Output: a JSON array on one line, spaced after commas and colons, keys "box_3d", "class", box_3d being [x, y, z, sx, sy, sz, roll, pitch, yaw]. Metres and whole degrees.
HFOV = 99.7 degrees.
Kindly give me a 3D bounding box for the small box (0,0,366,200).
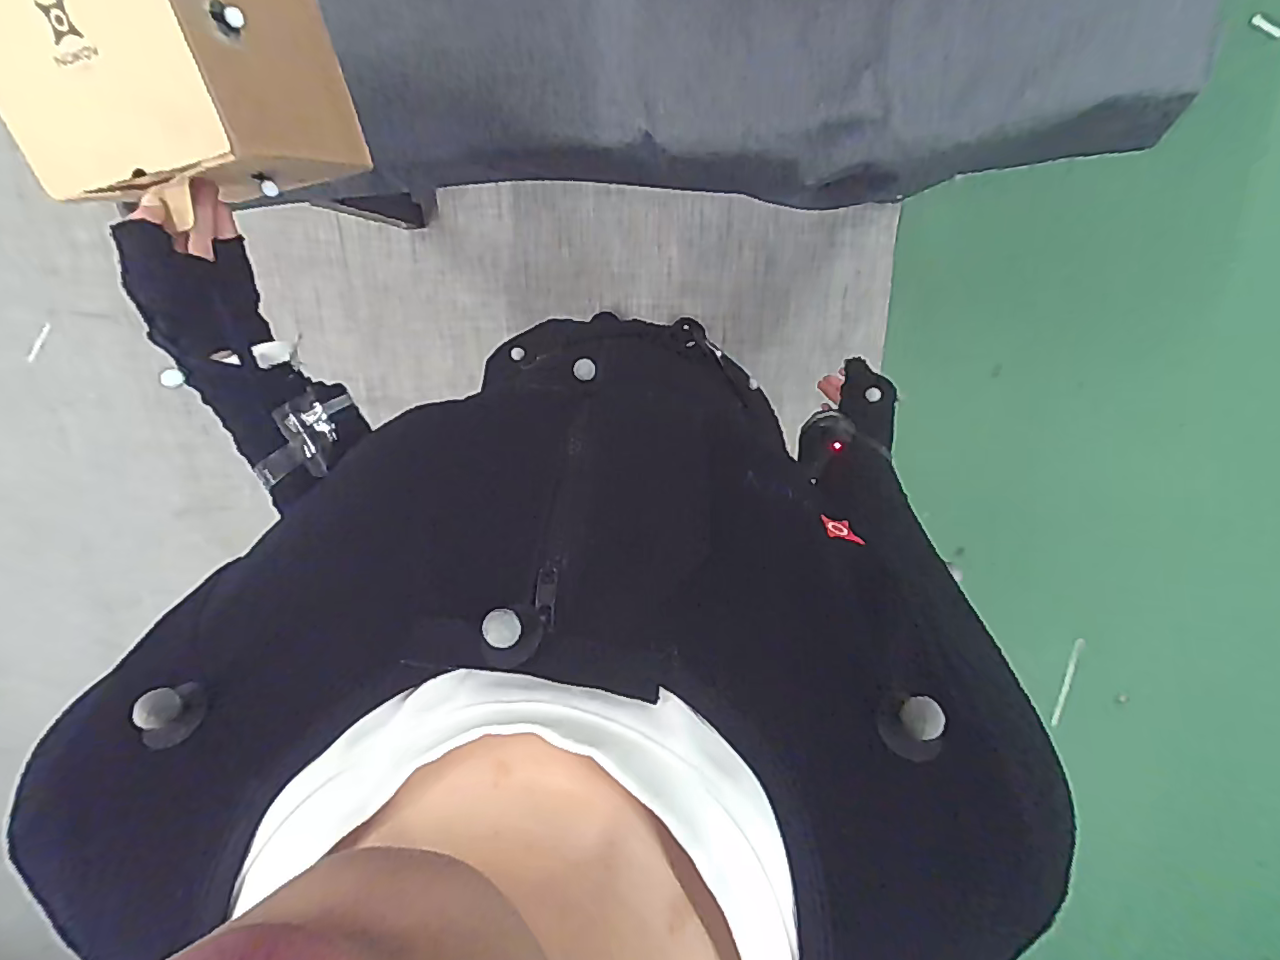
[{"box_3d": [-0.347, -0.323, 0.408, 0.168, 0.176, 0.179, -6, 115, 12], "class": "small box"}]
